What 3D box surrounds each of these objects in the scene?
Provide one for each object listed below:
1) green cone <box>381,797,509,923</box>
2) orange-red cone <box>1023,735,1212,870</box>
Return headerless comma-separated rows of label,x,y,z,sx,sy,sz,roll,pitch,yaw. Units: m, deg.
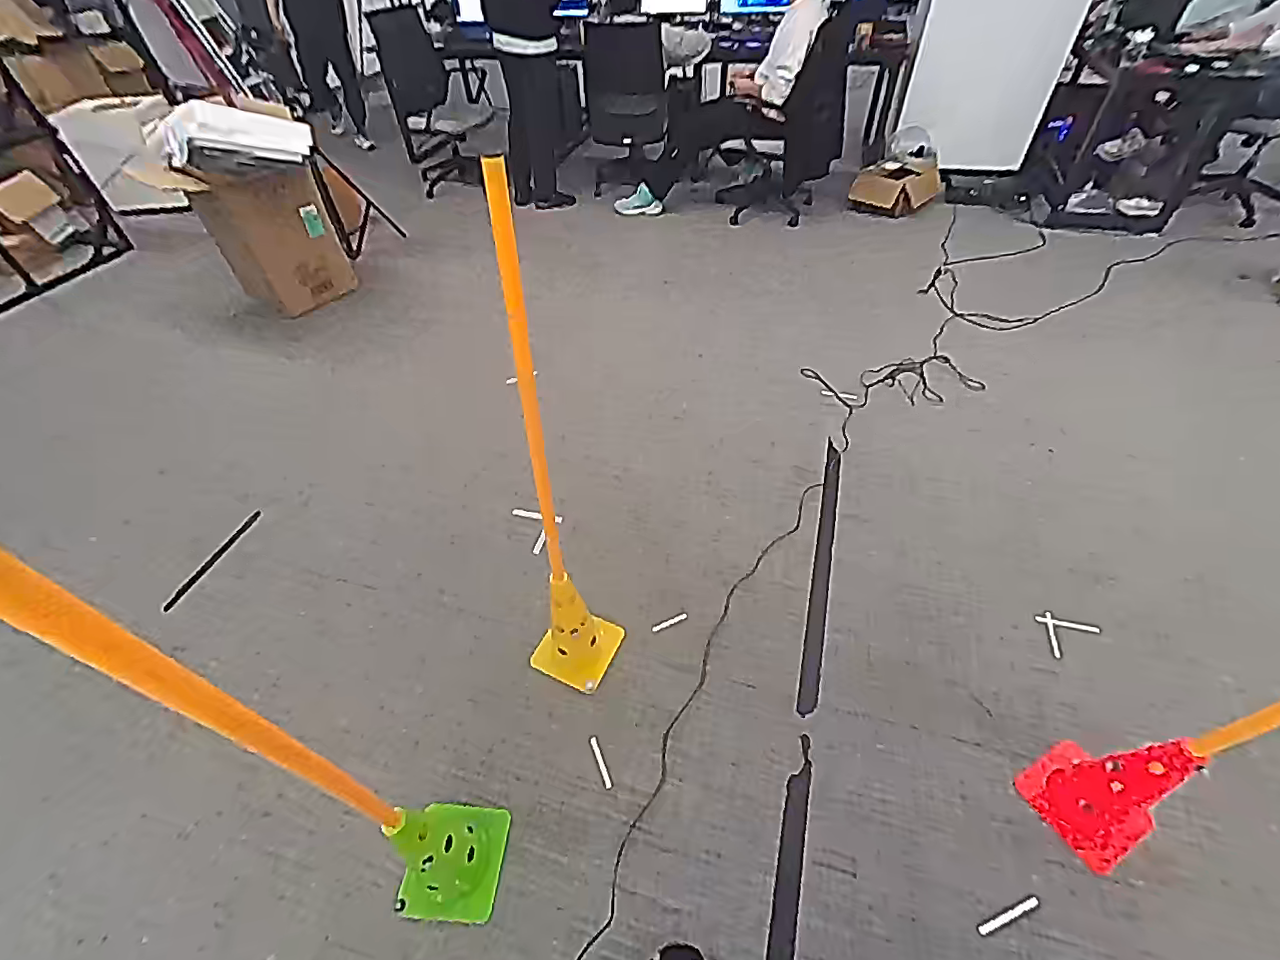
green cone,-0.395,0.672,1.008,0.200,0.368,0.202,1,45,4
orange-red cone,0.949,0.569,1.031,0.199,0.360,0.198,-23,48,-16
